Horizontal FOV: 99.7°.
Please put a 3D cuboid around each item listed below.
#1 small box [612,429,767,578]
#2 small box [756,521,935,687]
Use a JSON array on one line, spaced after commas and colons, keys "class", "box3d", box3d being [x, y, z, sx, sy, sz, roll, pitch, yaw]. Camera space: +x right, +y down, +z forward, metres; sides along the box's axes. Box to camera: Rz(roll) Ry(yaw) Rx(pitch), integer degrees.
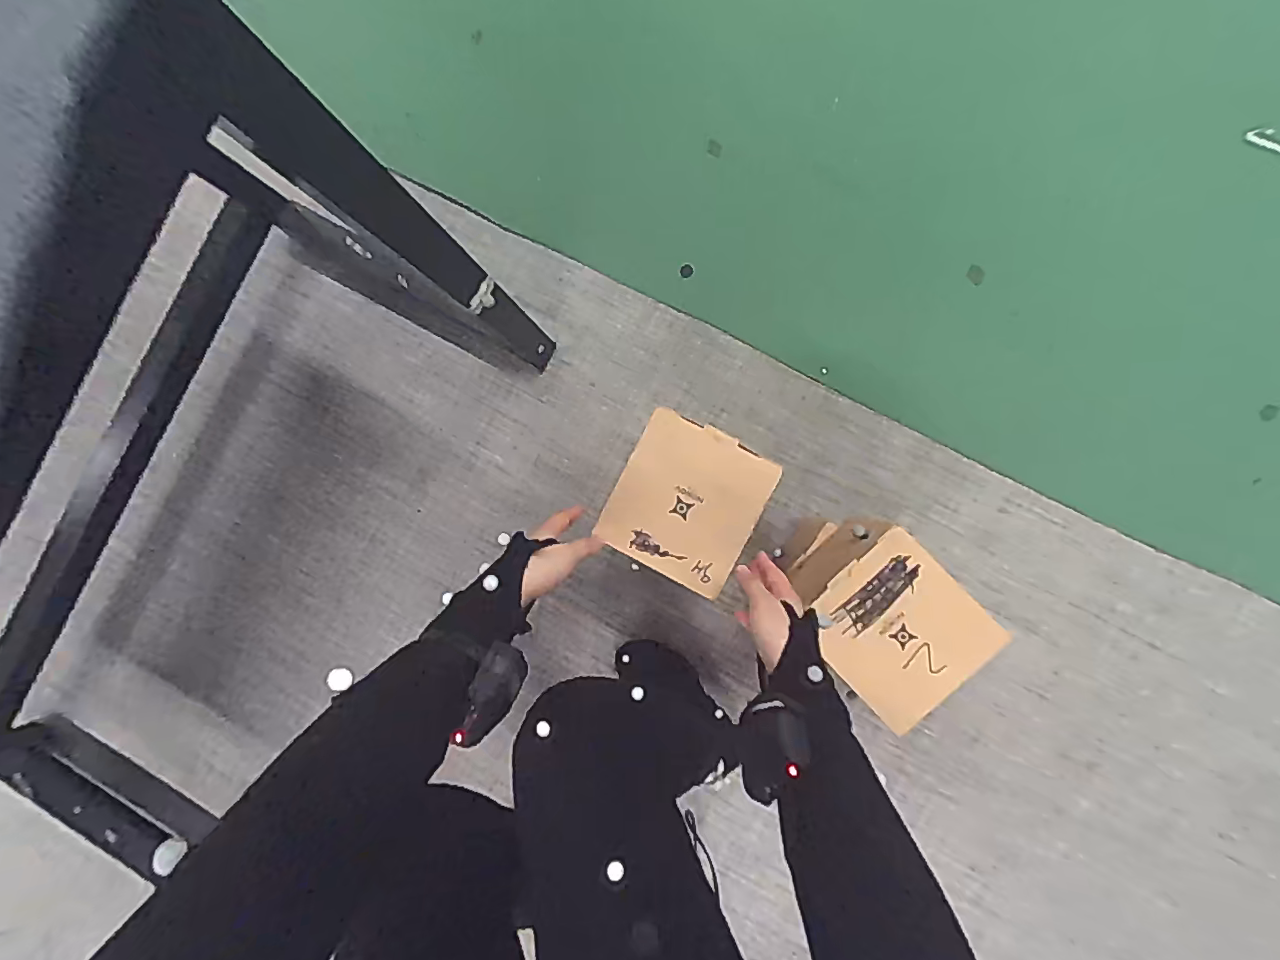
[{"class": "small box", "box3d": [0.080, 0.034, 0.864, 0.179, 0.176, 0.168, 27, 92, 7]}, {"class": "small box", "box3d": [0.301, 0.176, 0.837, 0.179, 0.176, 0.168, 37, 93, 5]}]
